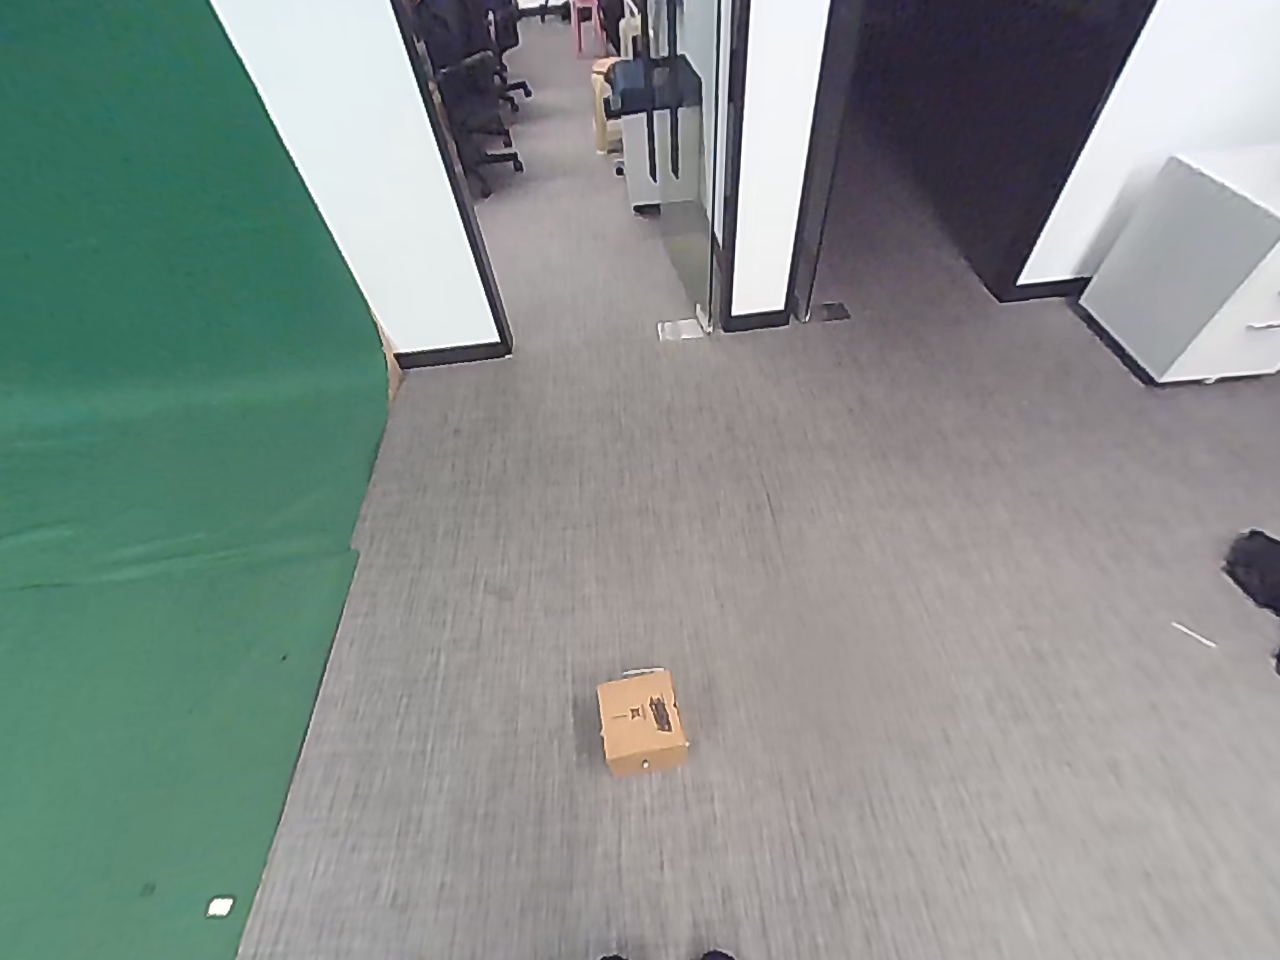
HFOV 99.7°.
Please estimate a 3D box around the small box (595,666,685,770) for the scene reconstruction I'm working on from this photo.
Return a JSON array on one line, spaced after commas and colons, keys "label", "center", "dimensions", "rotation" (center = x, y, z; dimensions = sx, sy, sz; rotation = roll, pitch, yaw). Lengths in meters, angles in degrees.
[{"label": "small box", "center": [-0.001, 0.565, 1.281], "dimensions": [0.179, 0.176, 0.168], "rotation": [-12, 51, -6]}]
